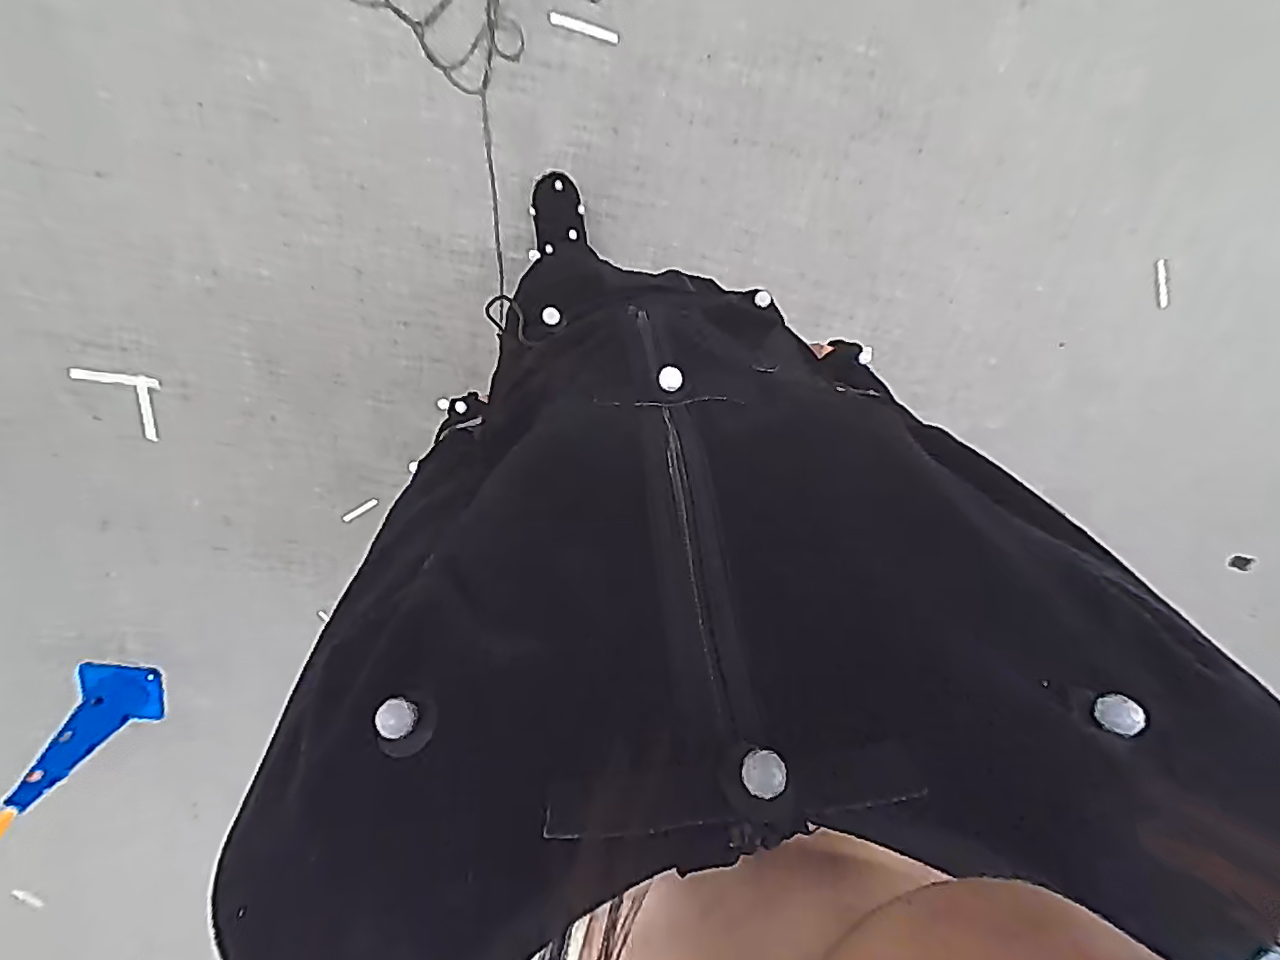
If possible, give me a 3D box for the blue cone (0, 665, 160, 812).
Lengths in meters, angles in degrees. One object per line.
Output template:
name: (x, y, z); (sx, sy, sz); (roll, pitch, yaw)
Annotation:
blue cone: (-1.466, 0.678, 1.400); (0.193, 0.380, 0.192); (12, 111, -13)
